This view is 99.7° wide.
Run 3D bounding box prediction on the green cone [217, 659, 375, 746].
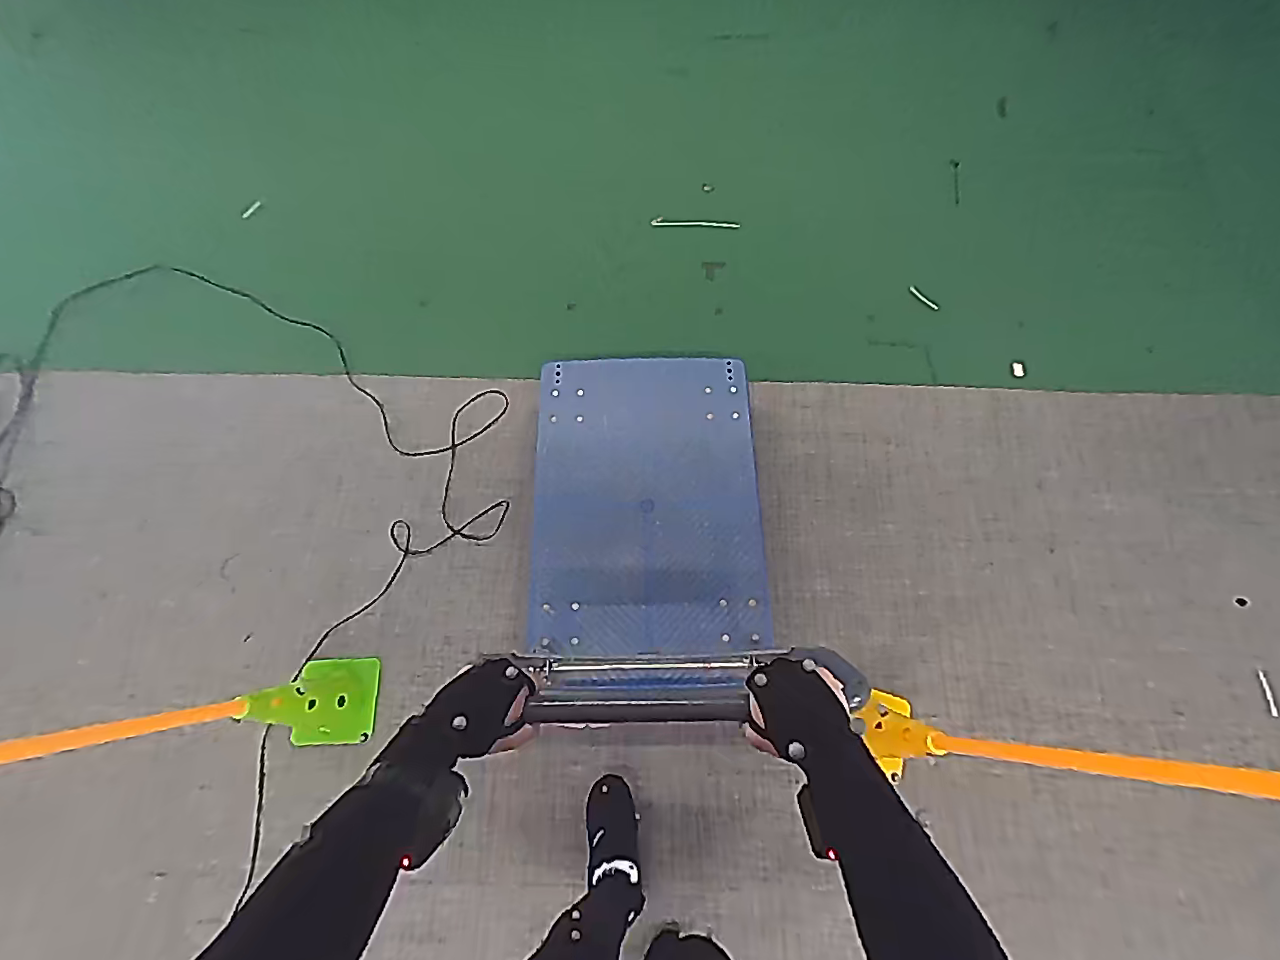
[{"bbox_3d":[-0.778,0.496,1.199,0.202,0.368,0.200,-3,69,1],"label":"green cone"}]
